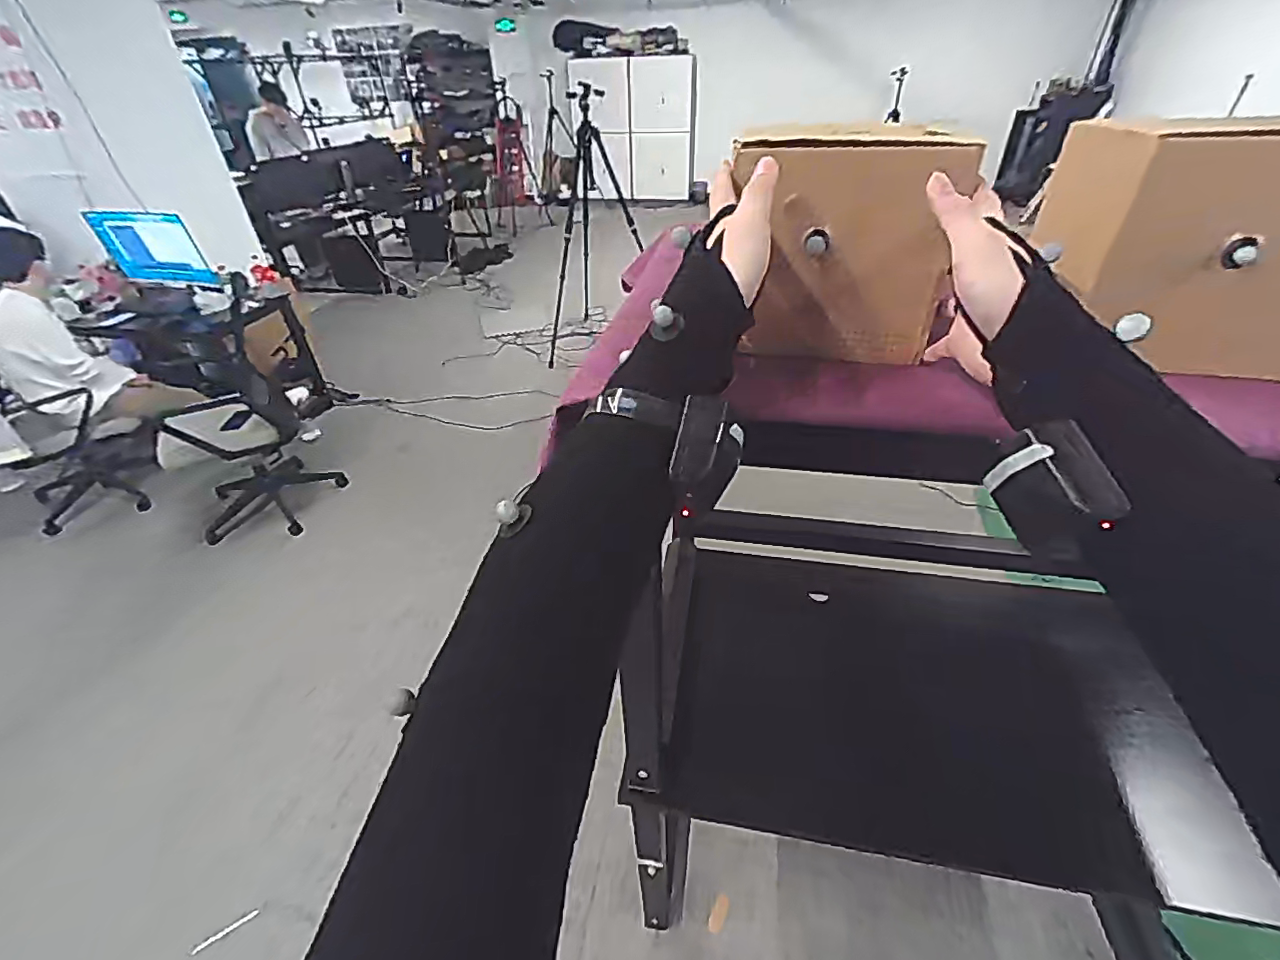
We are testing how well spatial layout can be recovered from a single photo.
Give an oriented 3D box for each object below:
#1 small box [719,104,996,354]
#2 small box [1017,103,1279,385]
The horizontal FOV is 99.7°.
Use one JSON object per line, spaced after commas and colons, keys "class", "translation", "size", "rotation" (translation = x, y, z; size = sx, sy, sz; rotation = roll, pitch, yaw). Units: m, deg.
{"class": "small box", "translation": [0.169, -0.222, 0.473], "size": [0.179, 0.176, 0.168], "rotation": [8, 39, 12]}
{"class": "small box", "translation": [0.444, -0.189, 0.427], "size": [0.179, 0.176, 0.168], "rotation": [10, 38, 14]}
